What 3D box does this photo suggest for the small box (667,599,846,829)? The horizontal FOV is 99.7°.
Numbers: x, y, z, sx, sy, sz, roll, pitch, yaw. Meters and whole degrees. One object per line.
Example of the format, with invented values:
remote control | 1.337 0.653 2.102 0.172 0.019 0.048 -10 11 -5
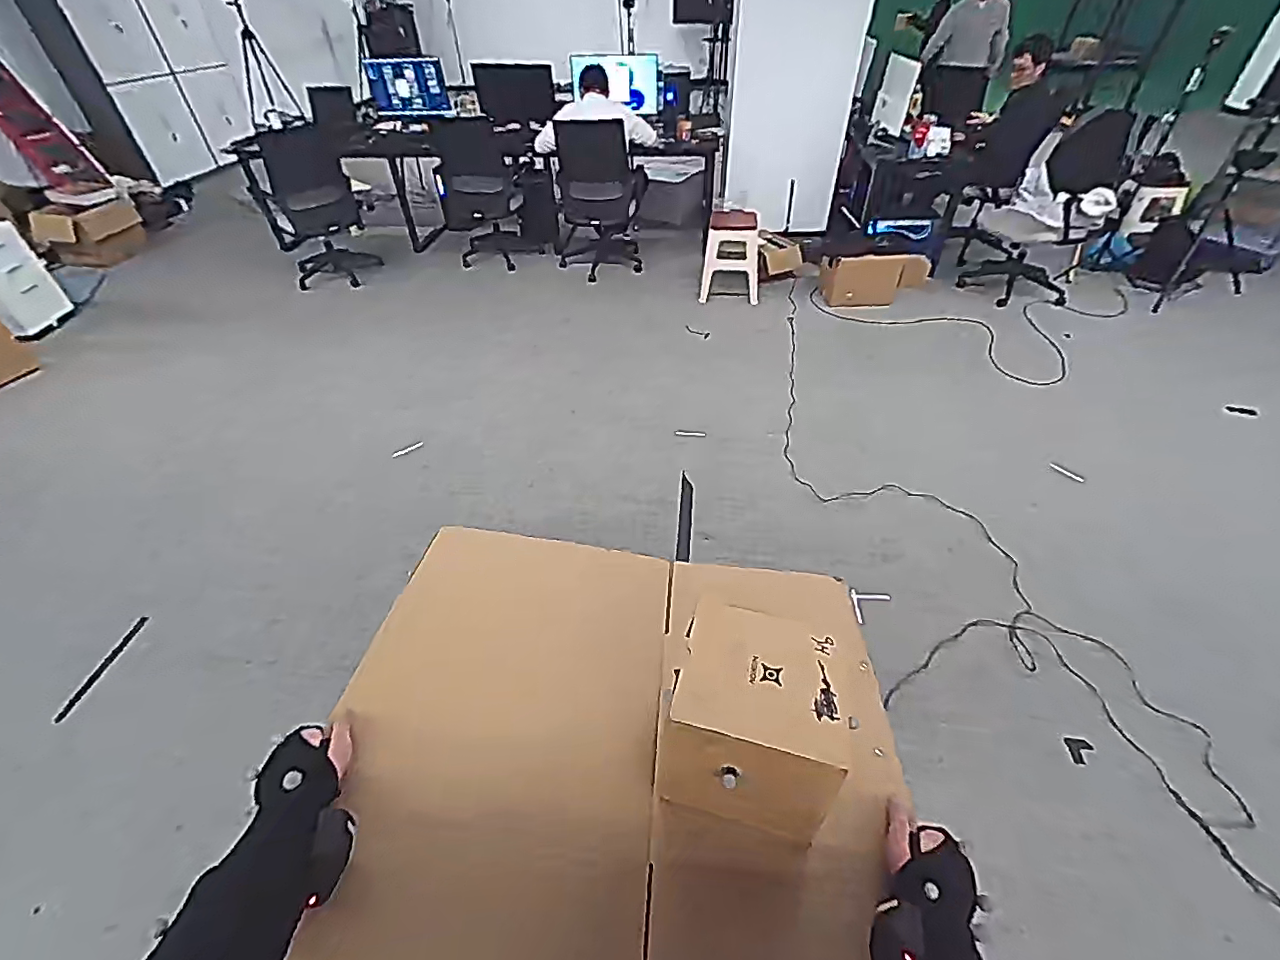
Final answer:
small box | 0.132 0.270 0.632 0.179 0.176 0.168 10 38 13
